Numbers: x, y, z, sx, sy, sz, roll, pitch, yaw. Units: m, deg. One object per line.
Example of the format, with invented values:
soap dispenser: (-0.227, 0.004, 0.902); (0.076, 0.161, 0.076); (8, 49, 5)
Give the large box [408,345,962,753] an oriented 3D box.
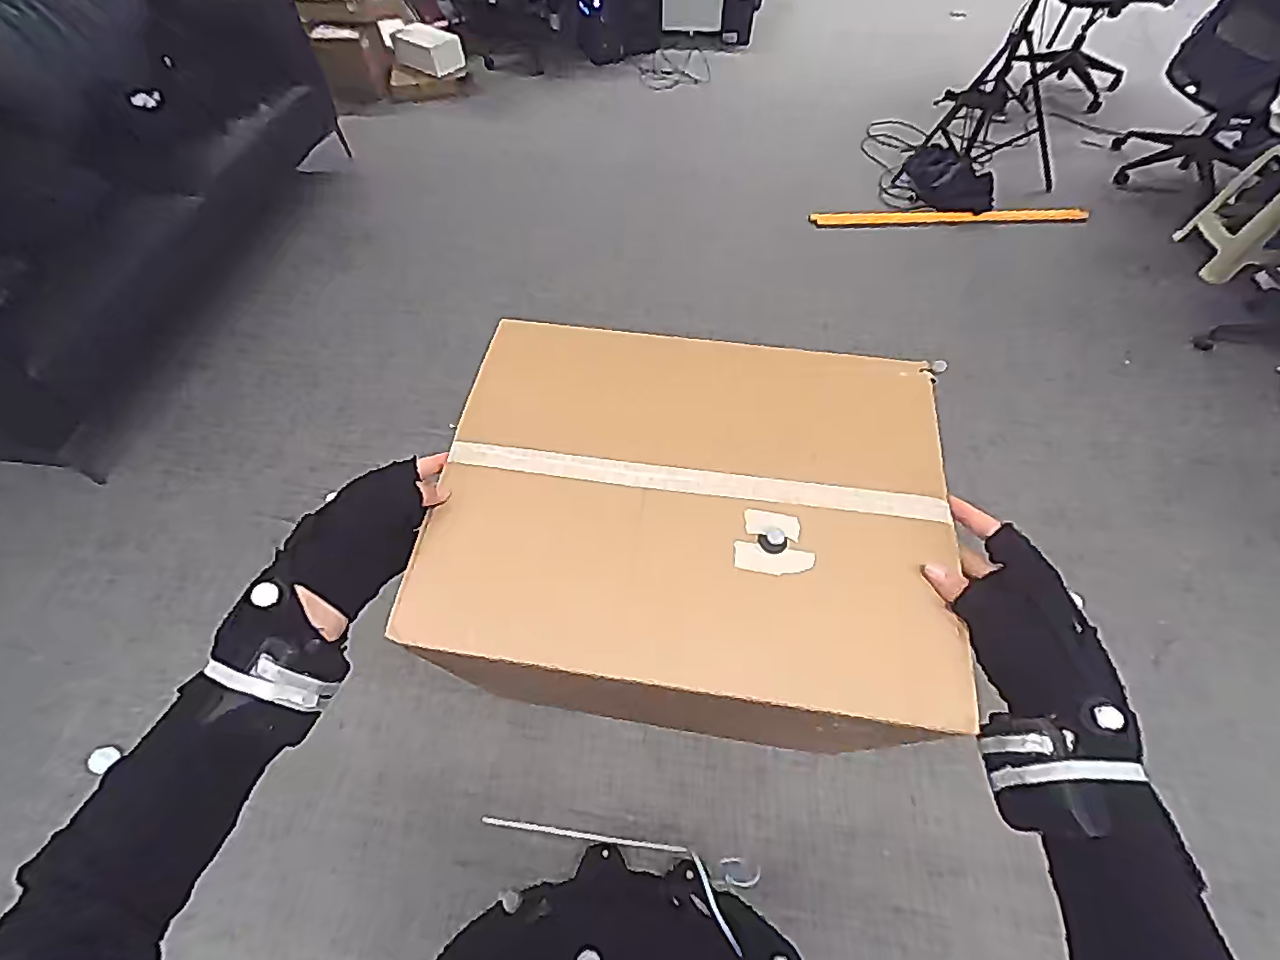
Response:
large box: (0.044, 0.089, 0.582); (0.408, 0.320, 0.320); (7, 61, 5)
